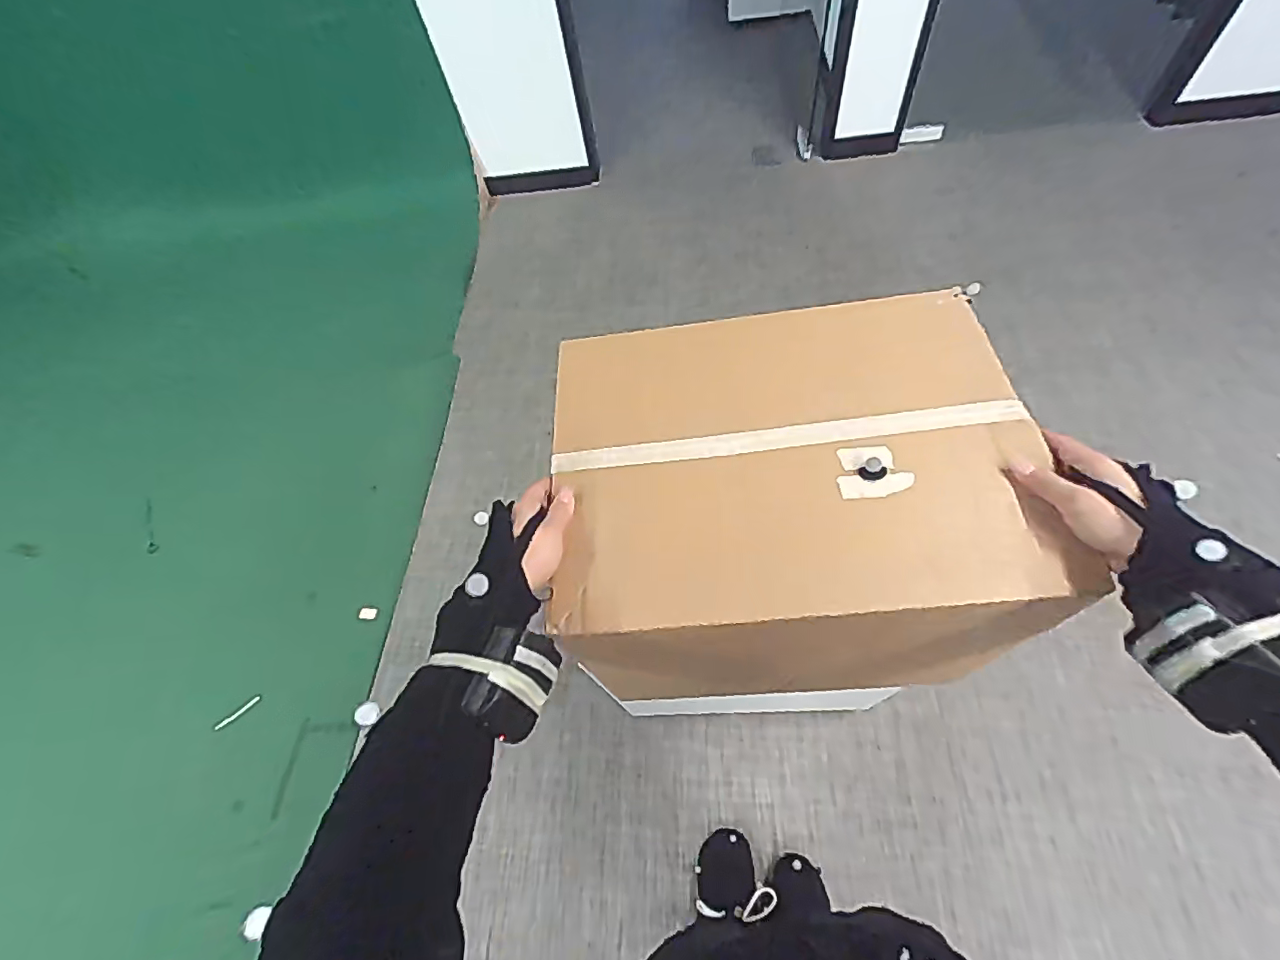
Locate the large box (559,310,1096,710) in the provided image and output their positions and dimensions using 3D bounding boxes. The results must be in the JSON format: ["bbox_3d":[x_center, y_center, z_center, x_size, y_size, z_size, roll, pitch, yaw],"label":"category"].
[{"bbox_3d":[0.142,0.055,0.605,0.408,0.320,0.320,-6,58,5],"label":"large box"}]
